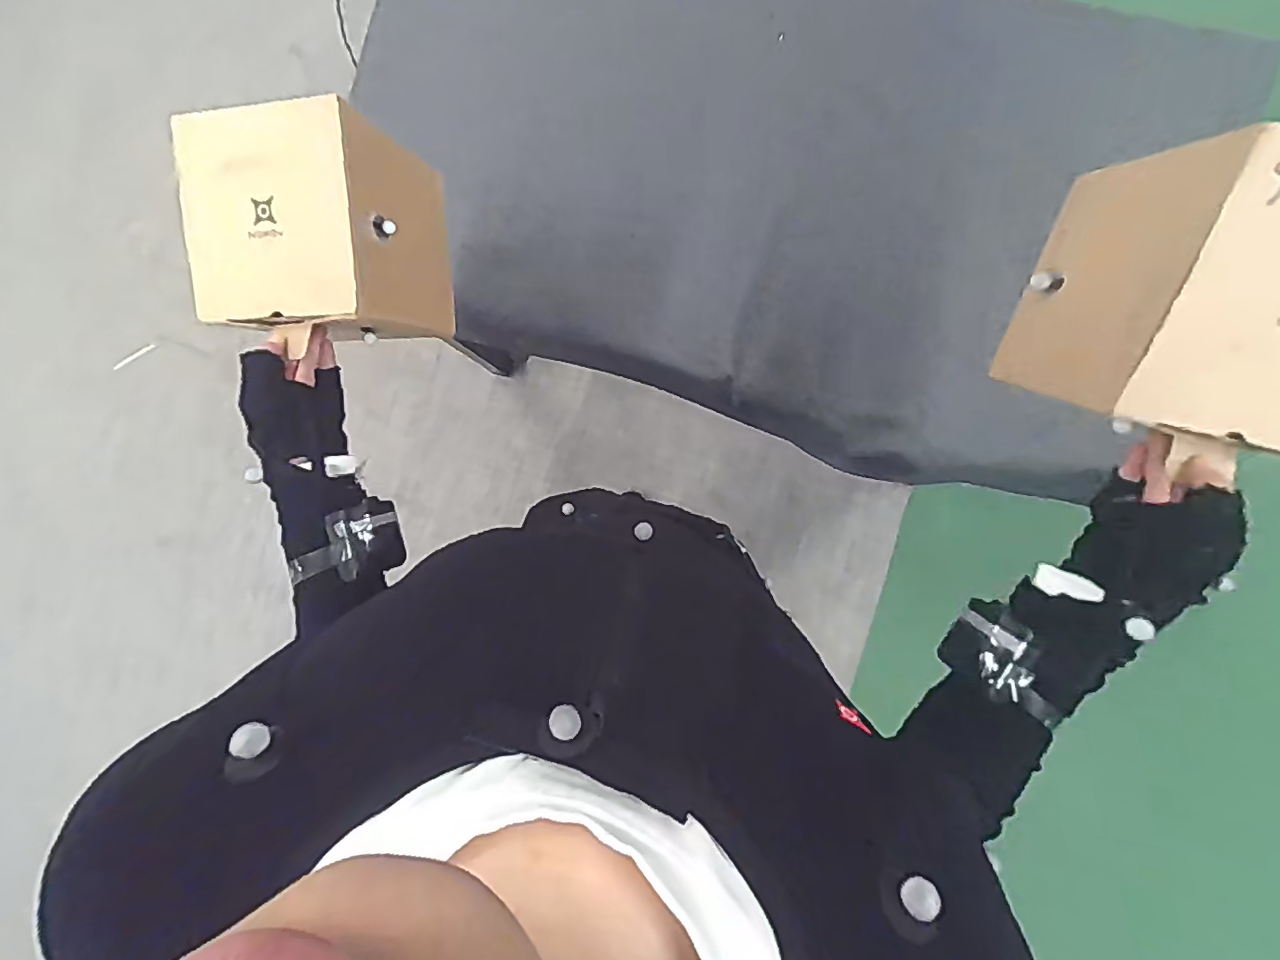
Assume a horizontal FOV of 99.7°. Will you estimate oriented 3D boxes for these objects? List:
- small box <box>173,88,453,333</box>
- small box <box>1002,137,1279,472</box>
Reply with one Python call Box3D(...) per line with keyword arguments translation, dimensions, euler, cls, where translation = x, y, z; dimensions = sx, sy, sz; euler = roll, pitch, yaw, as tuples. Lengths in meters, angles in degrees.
Box3D(translation=(-0.301, -0.241, 0.535), dimensions=(0.168, 0.176, 0.179), euler=(1, 99, 10), cls="small box")
Box3D(translation=(0.419, -0.124, 0.408), dimensions=(0.168, 0.176, 0.179), euler=(14, 112, 0), cls="small box")
